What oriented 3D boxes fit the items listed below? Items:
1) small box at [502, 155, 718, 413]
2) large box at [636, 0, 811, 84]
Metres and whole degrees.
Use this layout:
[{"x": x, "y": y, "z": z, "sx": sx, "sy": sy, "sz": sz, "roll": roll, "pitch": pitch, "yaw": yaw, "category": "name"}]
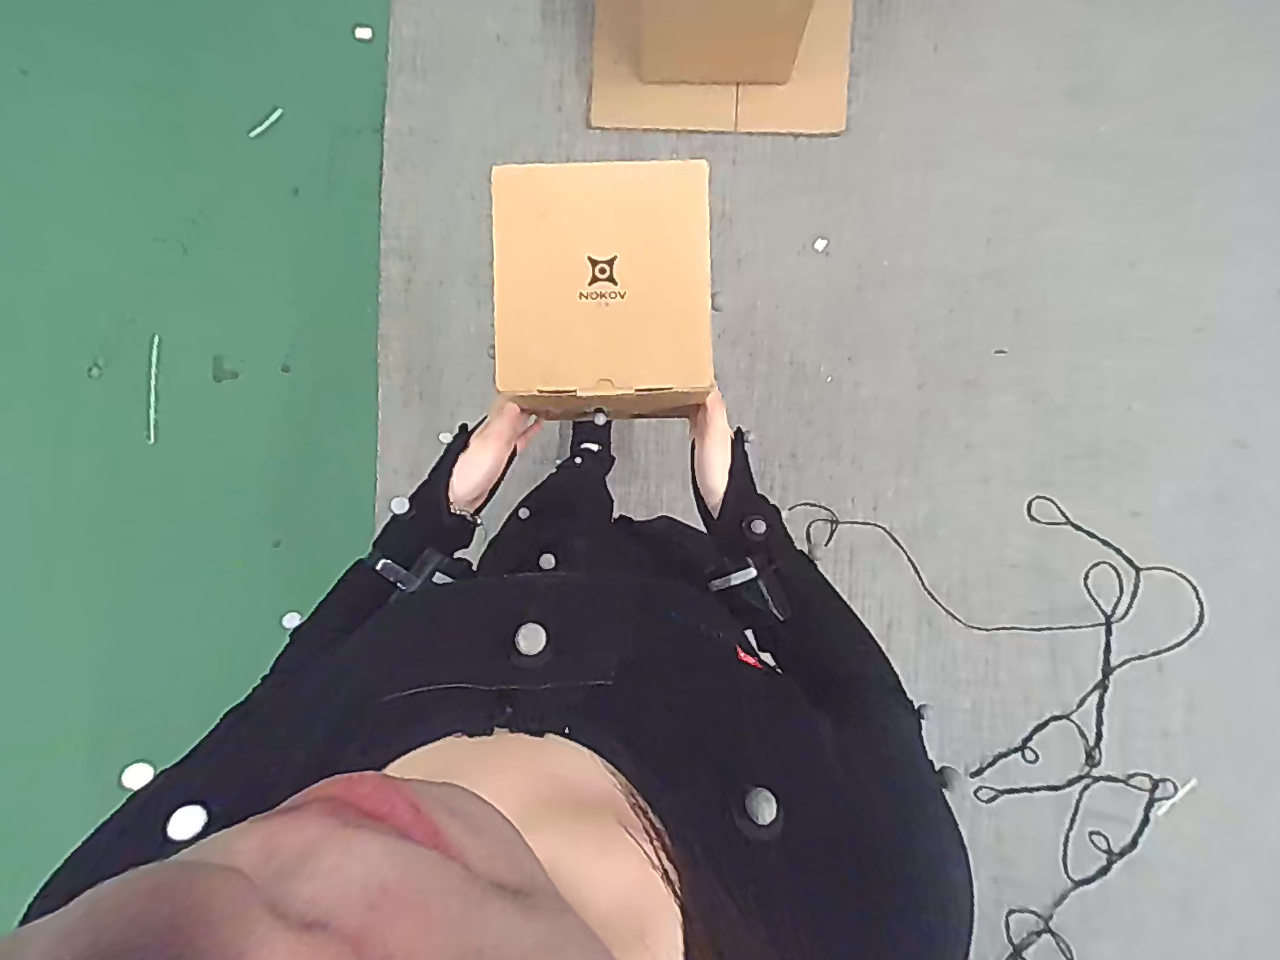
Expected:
[{"x": -0.024, "y": -0.159, "z": 0.488, "sx": 0.168, "sy": 0.176, "sz": 0.179, "roll": -1, "pitch": 91, "yaw": 0, "category": "small box"}, {"x": 0.191, "y": -1.230, "z": 1.324, "sx": 0.408, "sy": 0.320, "sz": 0.320, "roll": 1, "pitch": 91, "yaw": 1, "category": "large box"}]
